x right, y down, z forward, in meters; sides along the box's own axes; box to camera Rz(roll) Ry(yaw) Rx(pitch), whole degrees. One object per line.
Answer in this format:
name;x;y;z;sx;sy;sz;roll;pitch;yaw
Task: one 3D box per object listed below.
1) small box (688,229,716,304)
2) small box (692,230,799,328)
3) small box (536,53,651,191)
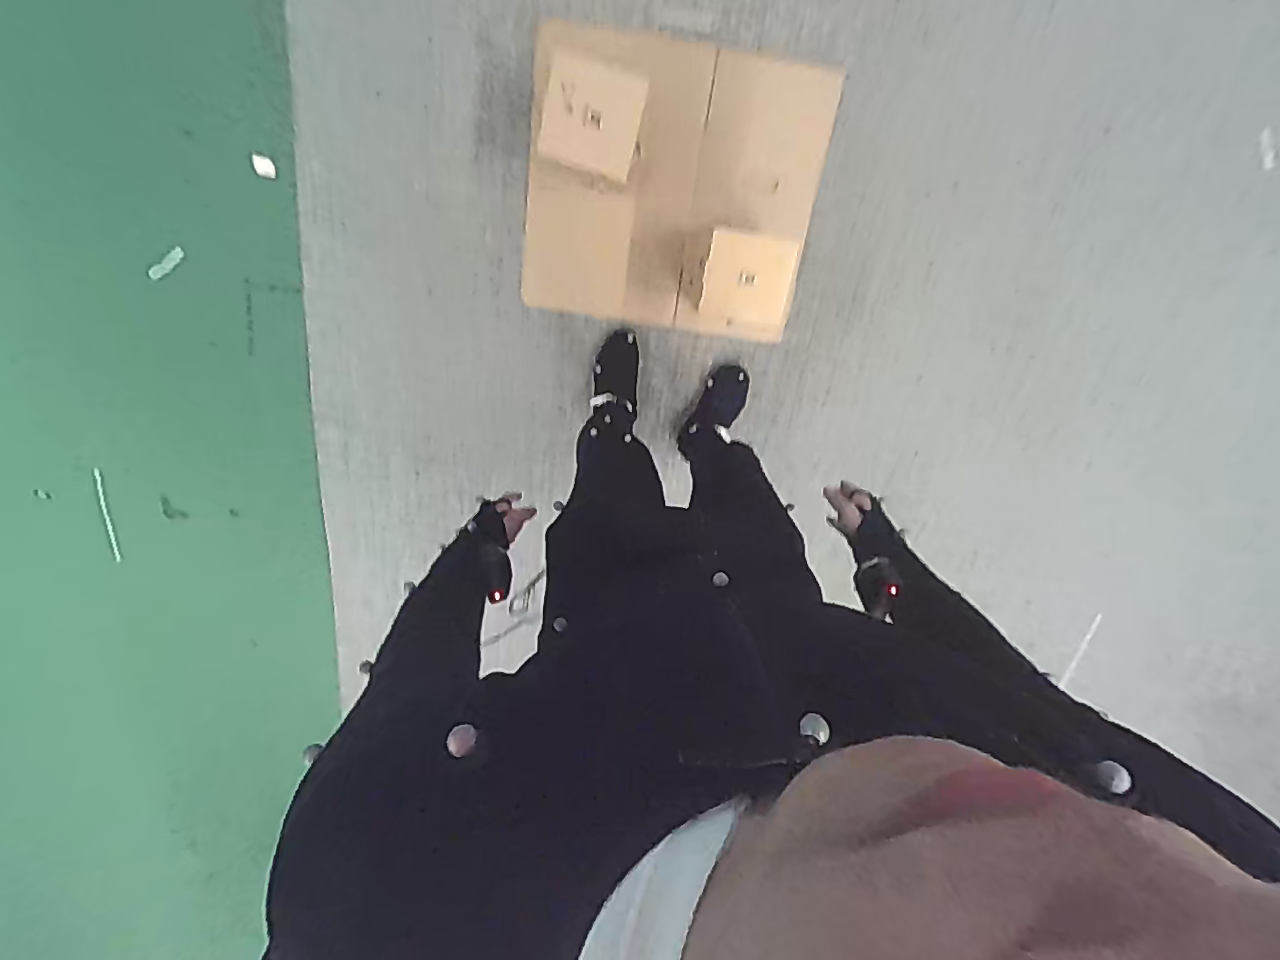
small box;0.216;-0.496;1.299;0.179;0.176;0.168;9;112;-3
small box;0.215;-0.429;1.152;0.179;0.176;0.168;8;112;-2
small box;-0.086;-0.675;1.045;0.179;0.176;0.168;15;110;-6
